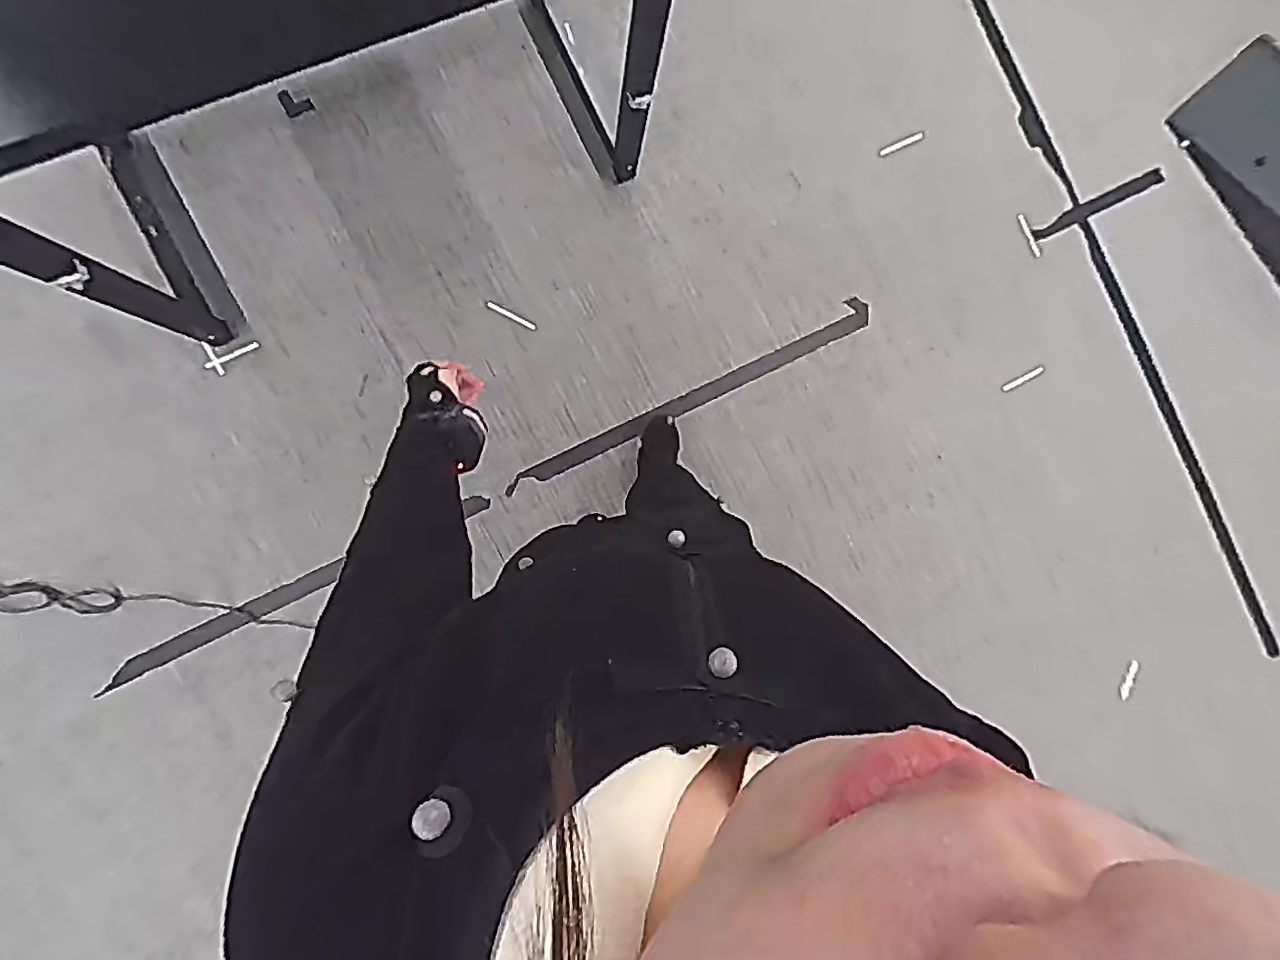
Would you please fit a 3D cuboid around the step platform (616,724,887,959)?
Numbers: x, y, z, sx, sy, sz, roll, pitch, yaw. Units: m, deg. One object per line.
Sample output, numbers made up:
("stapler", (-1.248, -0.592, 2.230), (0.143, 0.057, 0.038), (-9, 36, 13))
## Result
("step platform", (0.290, 0.926, 1.420), (0.684, 0.204, 0.286), (-21, 92, -8))
